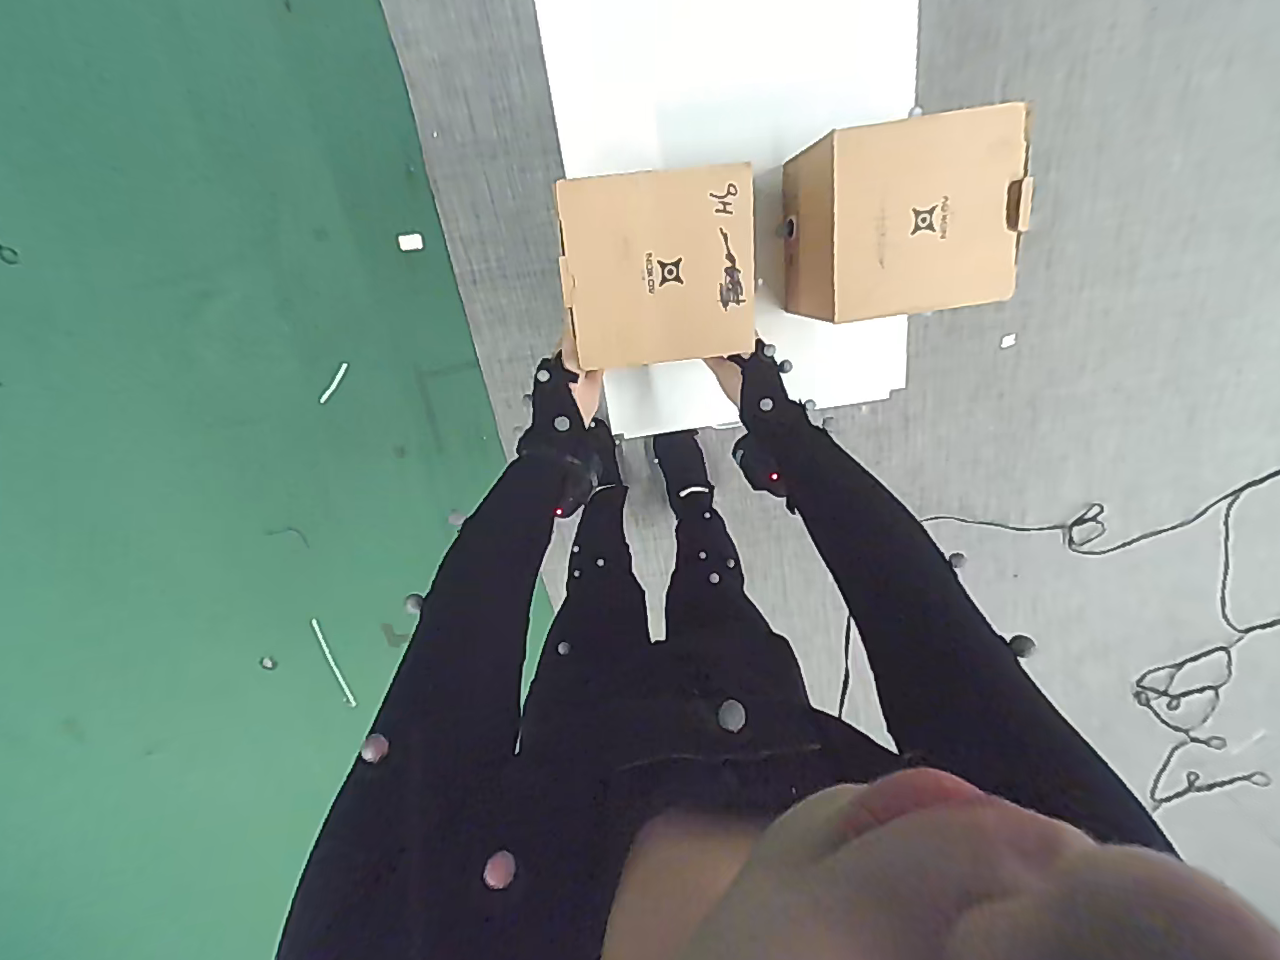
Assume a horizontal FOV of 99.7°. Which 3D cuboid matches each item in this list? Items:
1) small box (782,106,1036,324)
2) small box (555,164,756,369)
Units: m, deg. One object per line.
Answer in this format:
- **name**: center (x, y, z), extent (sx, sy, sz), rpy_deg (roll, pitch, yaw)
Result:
- **small box**: center (0.260, -0.265, 0.565), extent (0.179, 0.176, 0.168), rpy_deg (-7, 111, 2)
- **small box**: center (0.015, -0.218, 0.567), extent (0.179, 0.176, 0.168), rpy_deg (-6, 112, -2)
